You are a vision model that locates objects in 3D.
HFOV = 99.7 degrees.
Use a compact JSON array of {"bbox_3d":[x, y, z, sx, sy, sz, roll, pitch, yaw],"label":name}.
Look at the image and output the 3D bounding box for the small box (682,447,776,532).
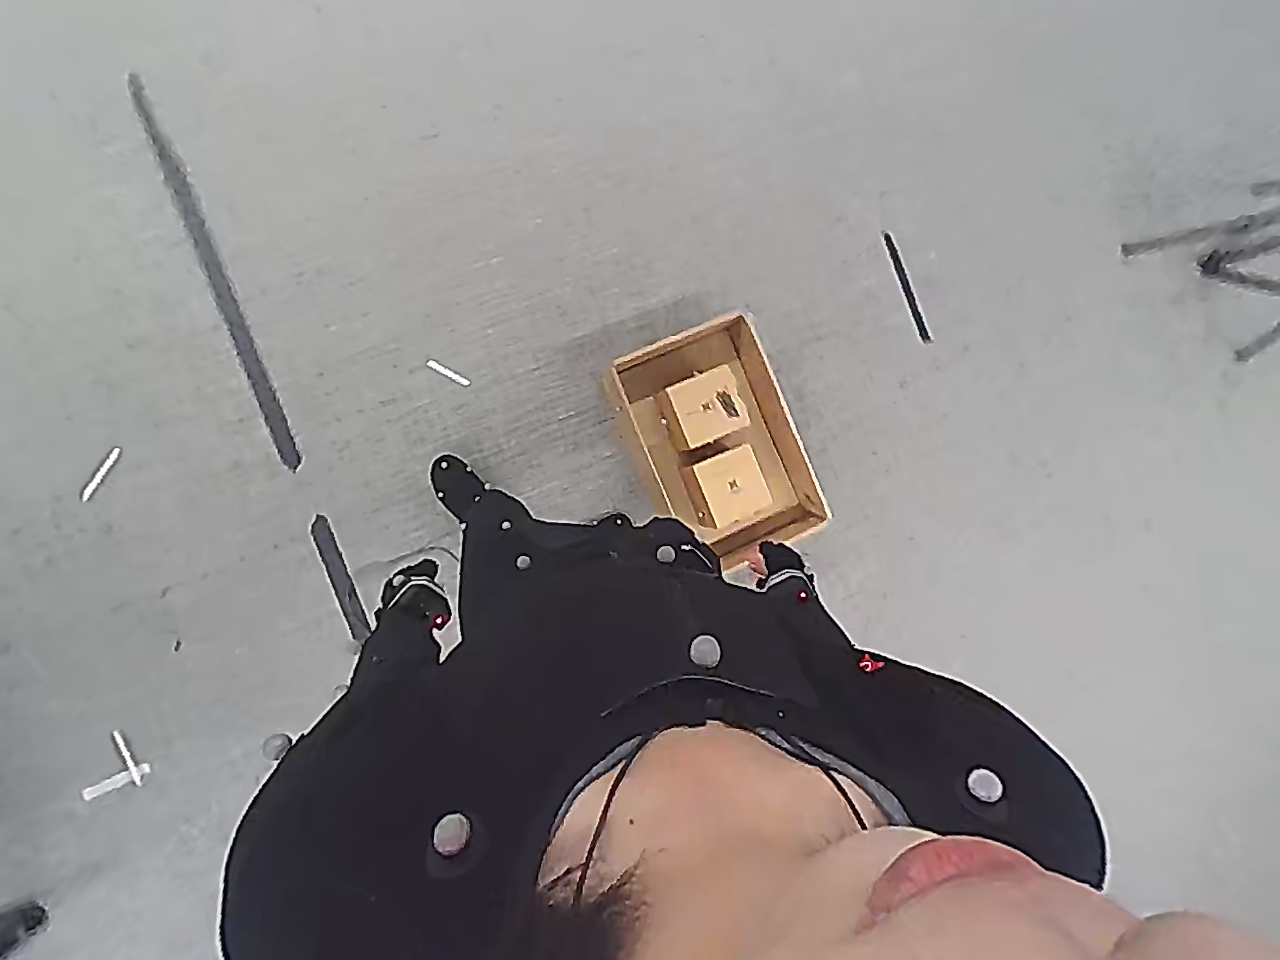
[{"bbox_3d":[0.232,0.025,1.451,0.168,0.176,0.179,-23,91,-9],"label":"small box"}]
